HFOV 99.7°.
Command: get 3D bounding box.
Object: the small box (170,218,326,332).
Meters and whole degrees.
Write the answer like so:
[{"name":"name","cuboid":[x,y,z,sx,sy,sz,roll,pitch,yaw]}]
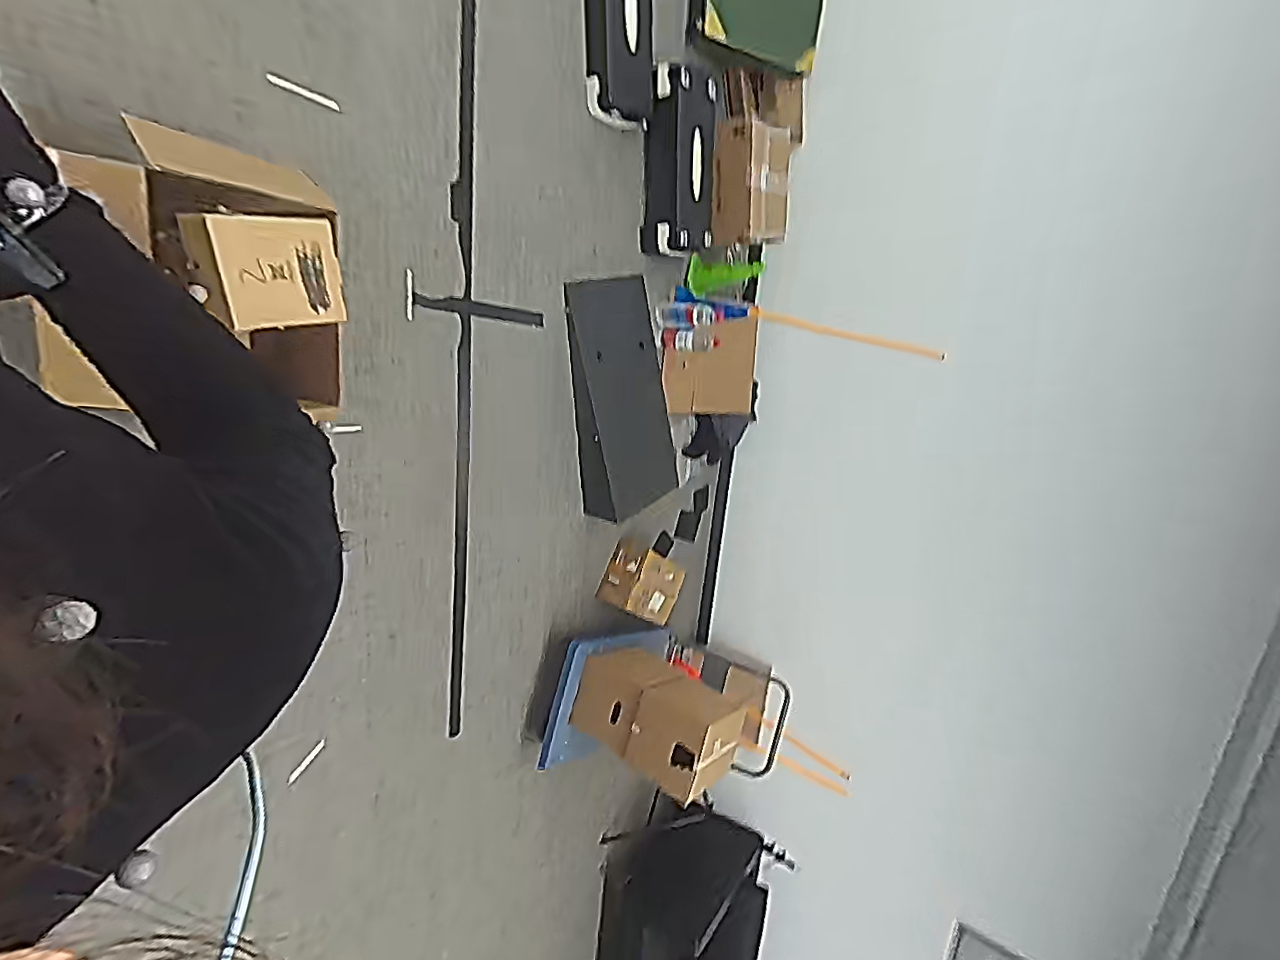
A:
[{"name":"small box","cuboid":[-0.752,-0.398,1.039,0.168,0.176,0.179,-35,132,-39]}]
